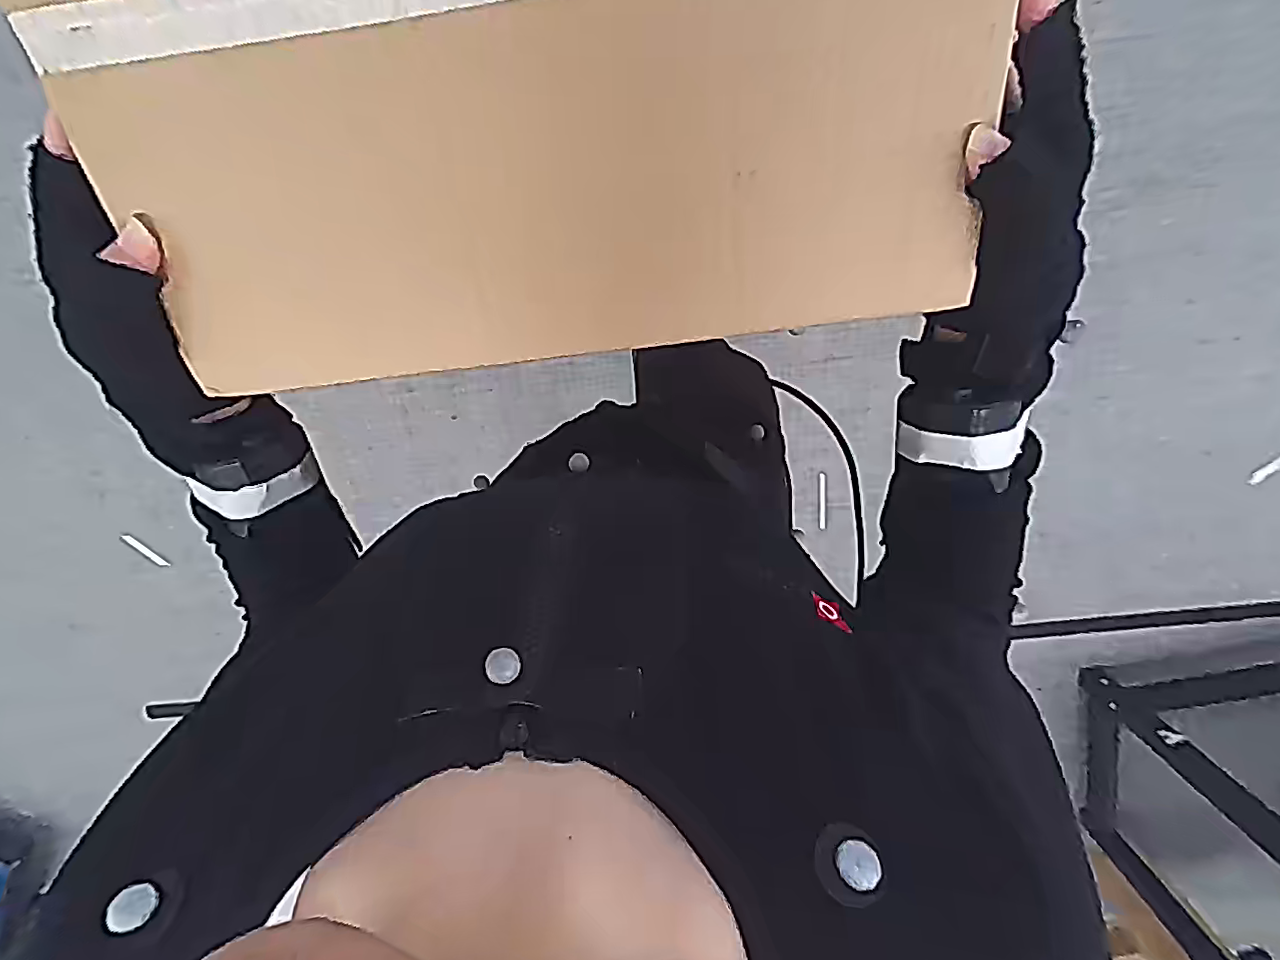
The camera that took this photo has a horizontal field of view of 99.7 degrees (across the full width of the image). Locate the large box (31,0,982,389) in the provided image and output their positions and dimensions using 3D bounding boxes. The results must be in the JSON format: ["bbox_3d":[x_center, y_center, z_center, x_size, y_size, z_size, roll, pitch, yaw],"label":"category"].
[{"bbox_3d":[-0.054,-0.278,0.356,0.408,0.320,0.320,-6,116,4],"label":"large box"}]
